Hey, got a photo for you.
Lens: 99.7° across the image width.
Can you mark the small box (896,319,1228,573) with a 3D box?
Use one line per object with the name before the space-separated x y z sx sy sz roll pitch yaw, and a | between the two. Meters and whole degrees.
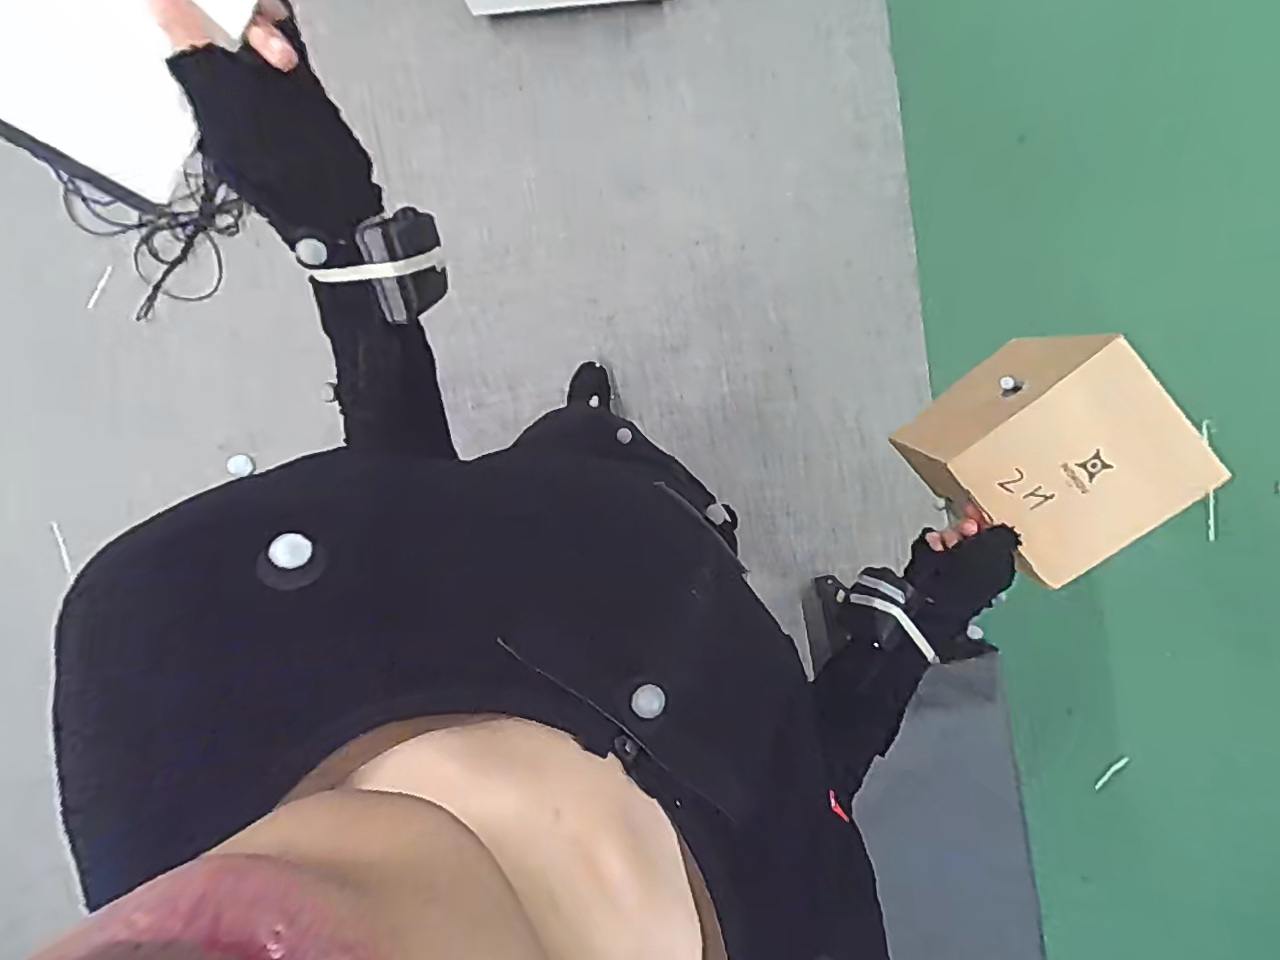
small box | 0.407 -0.042 0.560 0.179 0.176 0.168 -42 95 14
